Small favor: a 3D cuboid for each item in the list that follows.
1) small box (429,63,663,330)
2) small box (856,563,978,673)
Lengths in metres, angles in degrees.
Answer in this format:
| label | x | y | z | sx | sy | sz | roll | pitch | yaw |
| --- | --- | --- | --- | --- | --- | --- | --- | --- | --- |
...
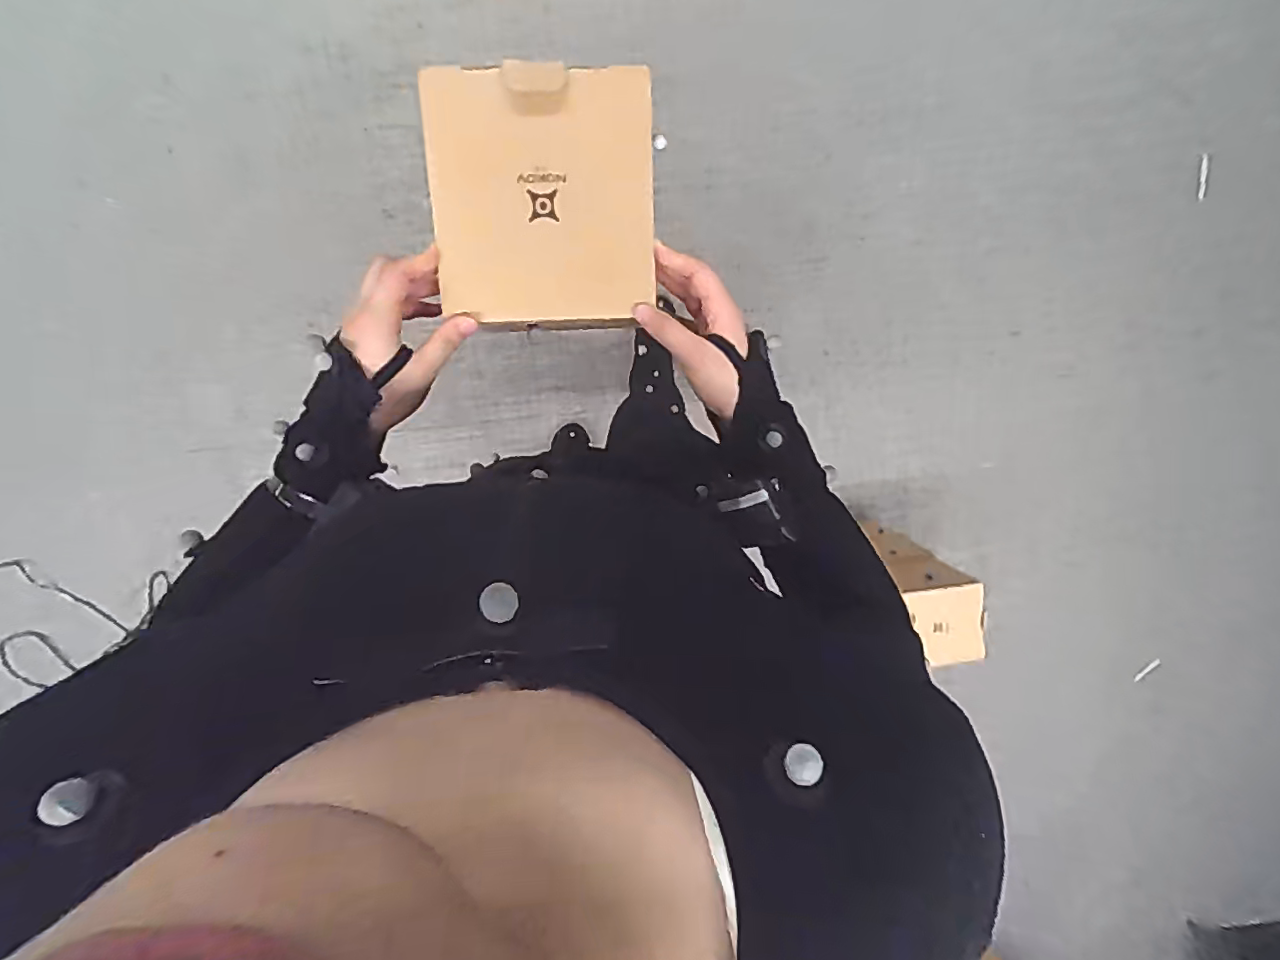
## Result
| label | x | y | z | sx | sy | sz | roll | pitch | yaw |
| --- | --- | --- | --- | --- | --- | --- | --- | --- | --- |
| small box | -0.069 | -0.226 | 0.477 | 0.168 | 0.176 | 0.179 | -3 | 102 | -3 |
| small box | 0.588 | 0.287 | 1.162 | 0.179 | 0.176 | 0.168 | -8 | 100 | -3 |
